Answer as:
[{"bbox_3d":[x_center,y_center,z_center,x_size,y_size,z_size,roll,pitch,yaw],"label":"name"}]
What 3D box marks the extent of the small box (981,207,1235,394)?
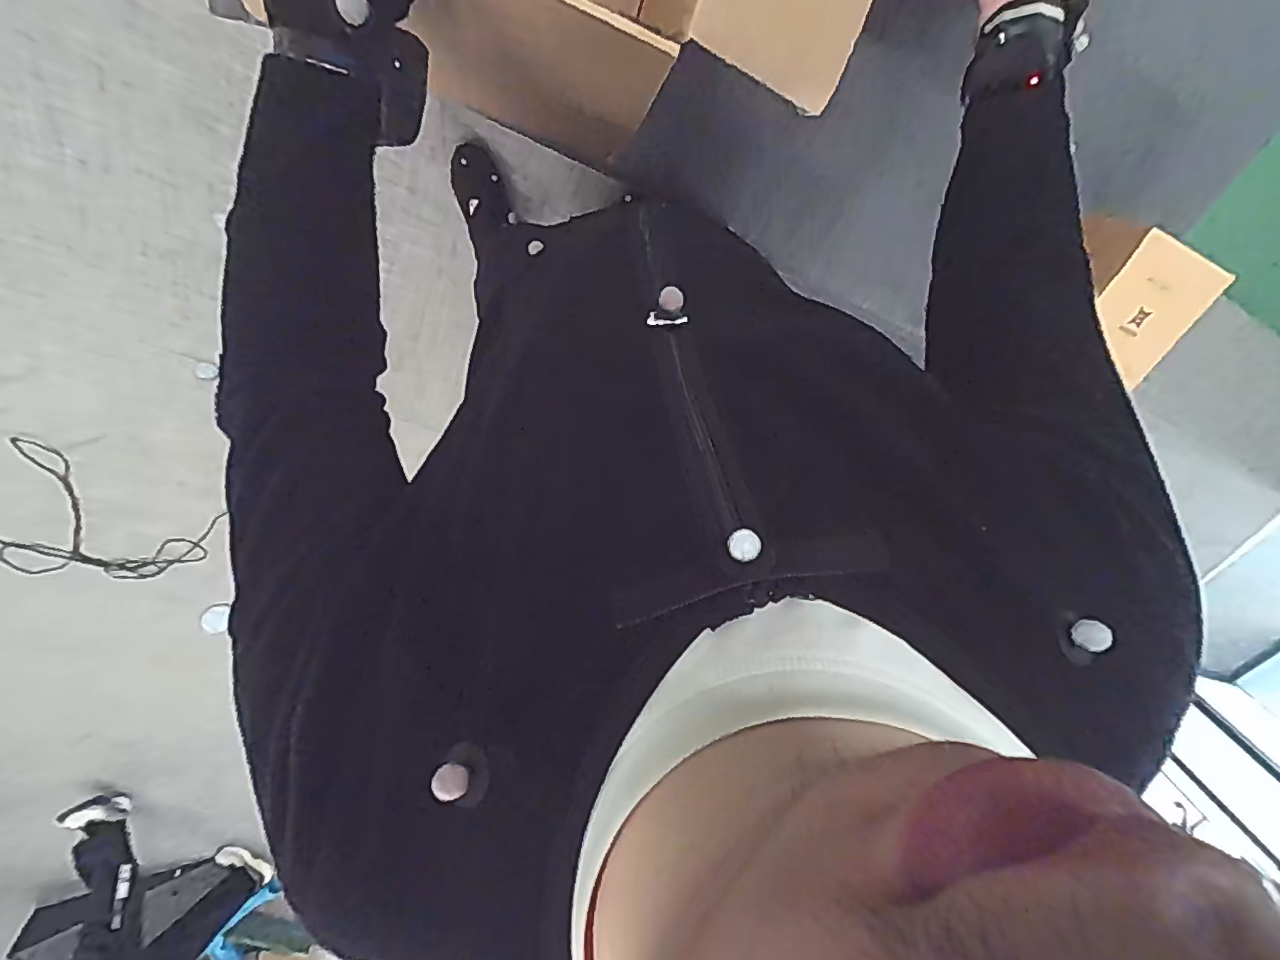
[{"bbox_3d":[0.620,-0.251,0.748,0.168,0.176,0.179,15,119,-19],"label":"small box"}]
